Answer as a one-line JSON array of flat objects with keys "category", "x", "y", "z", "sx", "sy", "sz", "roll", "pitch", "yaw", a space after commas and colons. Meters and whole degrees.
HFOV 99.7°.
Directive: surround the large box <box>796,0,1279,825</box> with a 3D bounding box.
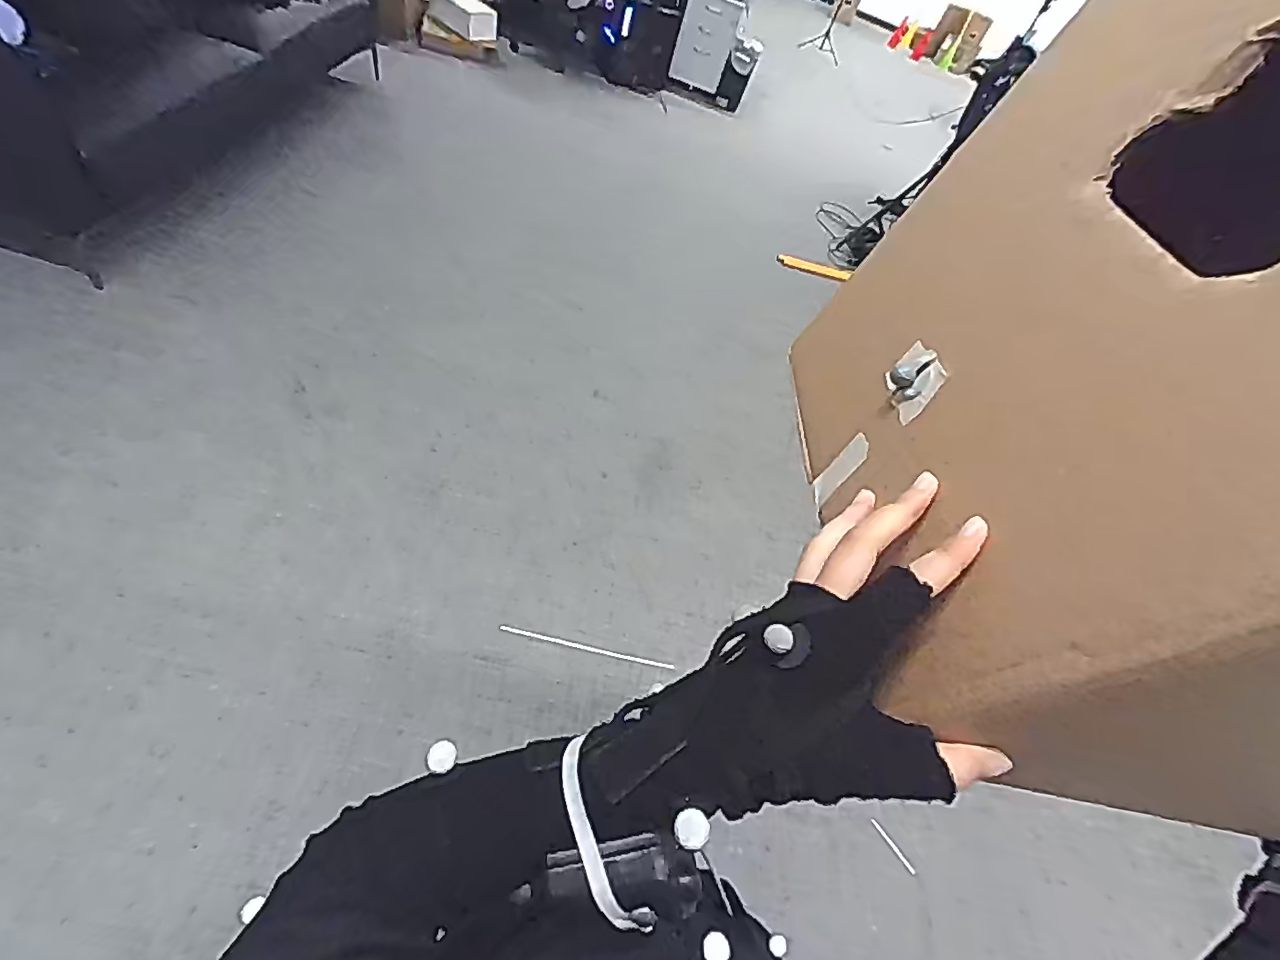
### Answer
[{"category": "large box", "x": 0.363, "y": -0.009, "z": 0.315, "sx": 0.408, "sy": 0.320, "sz": 0.320, "roll": 19, "pitch": 48, "yaw": -18}]
